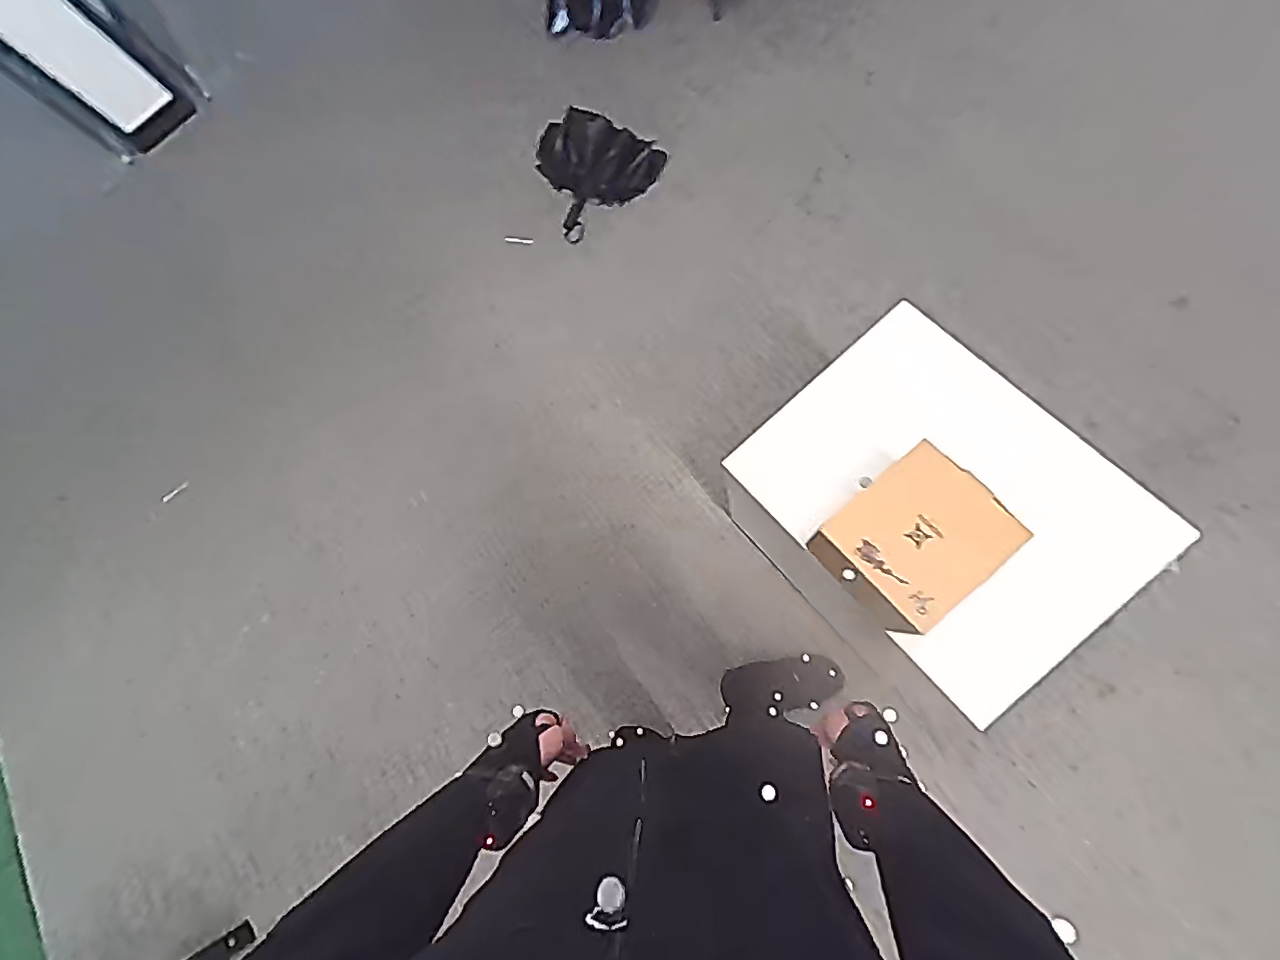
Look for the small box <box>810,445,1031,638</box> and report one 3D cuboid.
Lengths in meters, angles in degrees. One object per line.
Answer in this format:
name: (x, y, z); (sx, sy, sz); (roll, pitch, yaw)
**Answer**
small box: (0.348, 0.087, 0.716); (0.179, 0.176, 0.168); (-40, 72, -2)
